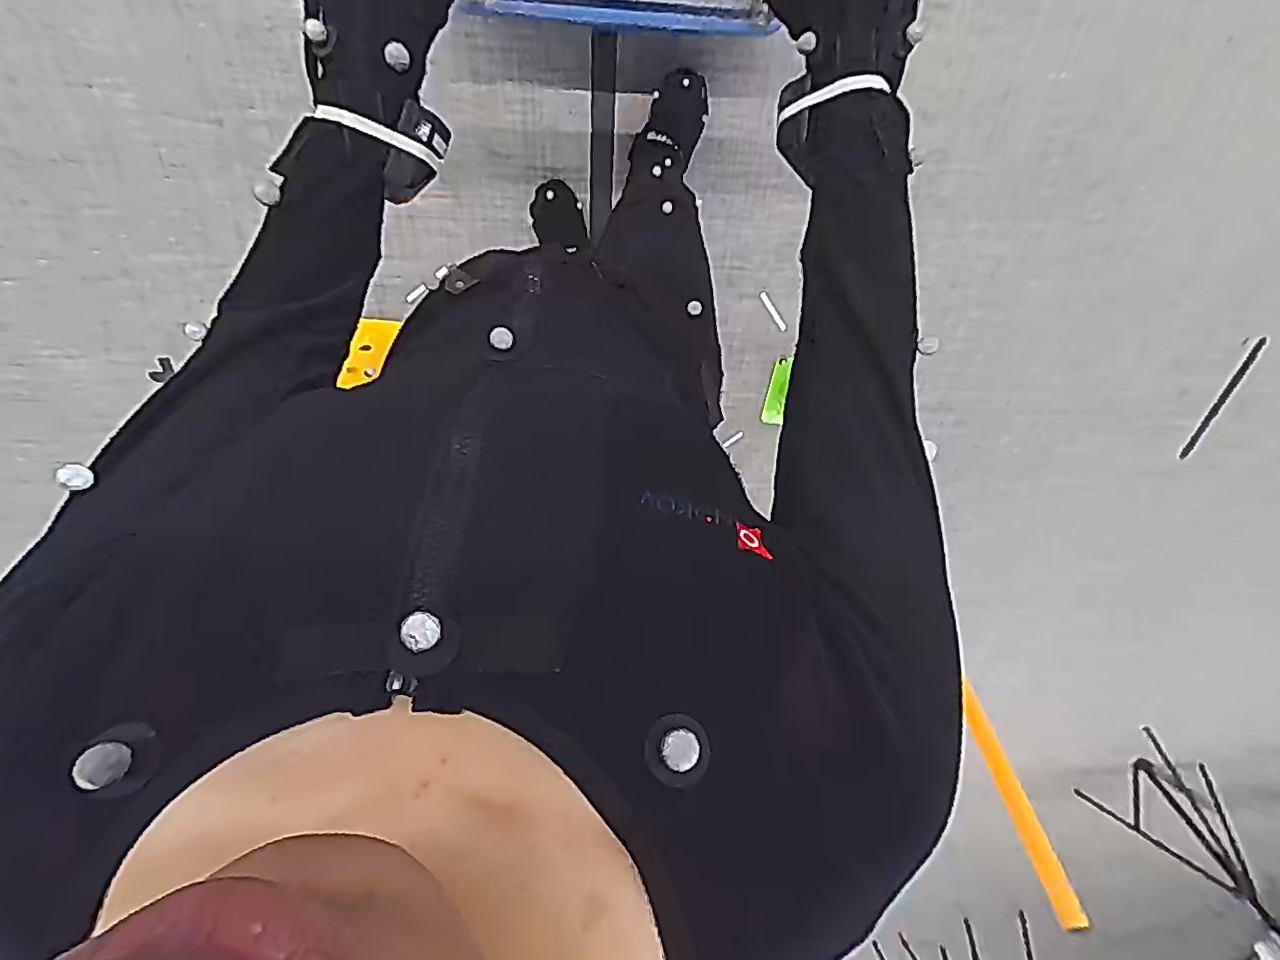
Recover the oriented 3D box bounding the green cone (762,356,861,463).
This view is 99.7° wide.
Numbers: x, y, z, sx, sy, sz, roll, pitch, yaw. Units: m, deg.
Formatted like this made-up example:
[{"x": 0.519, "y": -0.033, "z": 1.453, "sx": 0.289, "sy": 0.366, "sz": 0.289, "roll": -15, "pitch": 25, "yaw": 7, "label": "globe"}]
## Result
[{"x": 0.467, "y": -0.152, "z": 1.378, "sx": 0.202, "sy": 0.368, "sz": 0.200, "roll": 3, "pitch": 124, "yaw": -7, "label": "green cone"}]
